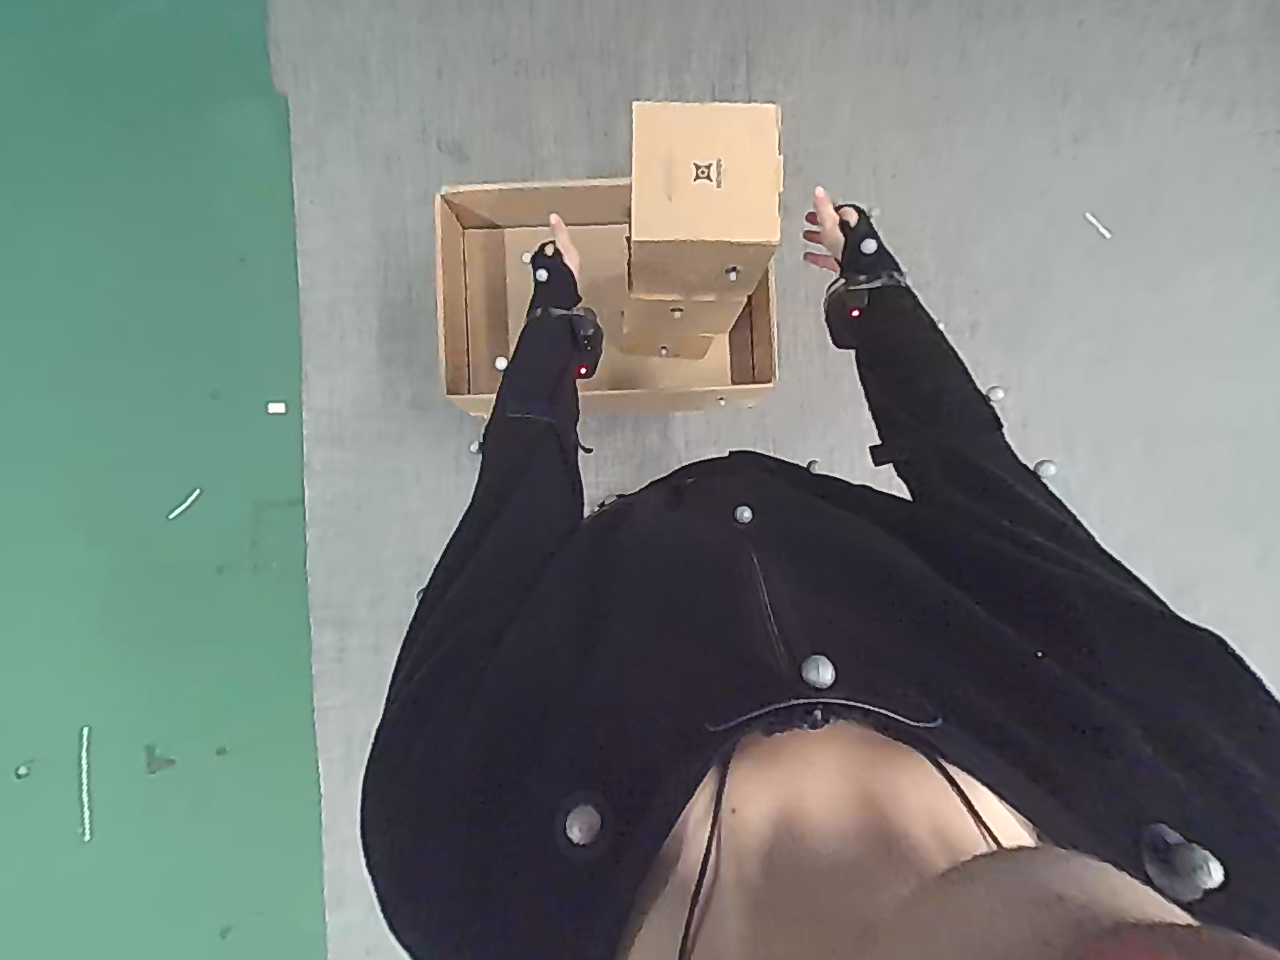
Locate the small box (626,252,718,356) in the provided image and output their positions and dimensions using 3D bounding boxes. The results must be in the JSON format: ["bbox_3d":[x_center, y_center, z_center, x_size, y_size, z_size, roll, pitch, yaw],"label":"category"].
[{"bbox_3d":[0.063,-0.339,1.021,0.168,0.176,0.179,3,88,1],"label":"small box"}]

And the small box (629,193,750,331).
[{"bbox_3d":[0.075,-0.342,0.857,0.179,0.176,0.168,2,88,0],"label":"small box"}]

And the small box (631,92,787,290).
[{"bbox_3d":[0.079,-0.356,0.694,0.179,0.176,0.168,1,88,1],"label":"small box"}]
